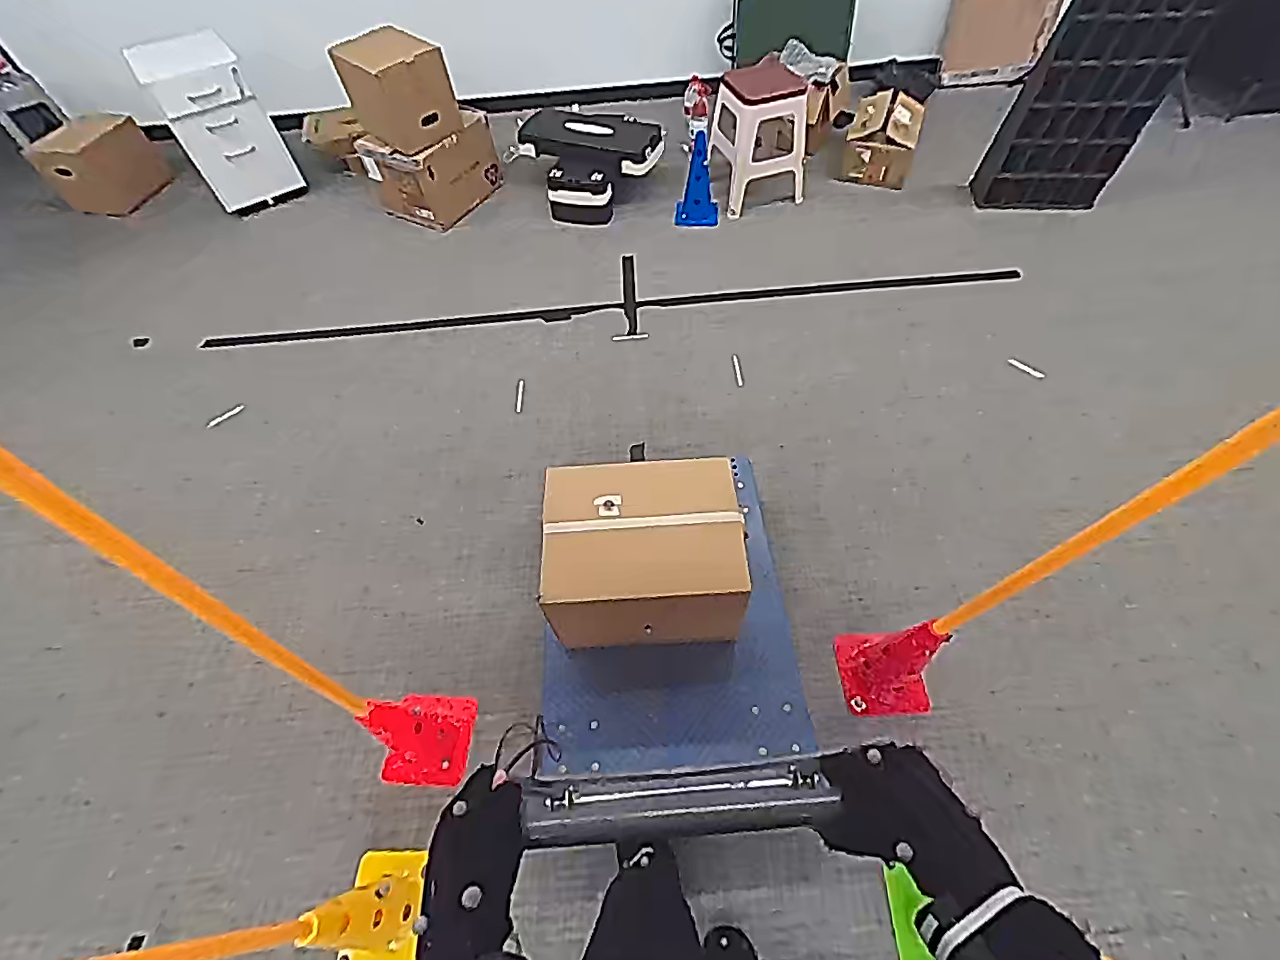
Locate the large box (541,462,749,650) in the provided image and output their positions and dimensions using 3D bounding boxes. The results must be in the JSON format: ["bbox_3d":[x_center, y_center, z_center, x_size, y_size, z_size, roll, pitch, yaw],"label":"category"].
[{"bbox_3d":[0.011,0.185,1.230,0.408,0.320,0.320,-4,57,2],"label":"large box"}]

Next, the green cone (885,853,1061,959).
[{"bbox_3d":[0.611,0.783,0.956,0.202,0.368,0.200,-1,56,2],"label":"green cone"}]

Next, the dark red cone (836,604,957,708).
[{"bbox_3d":[0.603,0.372,1.213,0.201,0.394,0.202,-3,56,-1],"label":"dark red cone"}]

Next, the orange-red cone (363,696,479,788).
[{"bbox_3d":[-0.518,0.544,1.198,0.198,0.360,0.199,2,55,4],"label":"orange-red cone"}]
